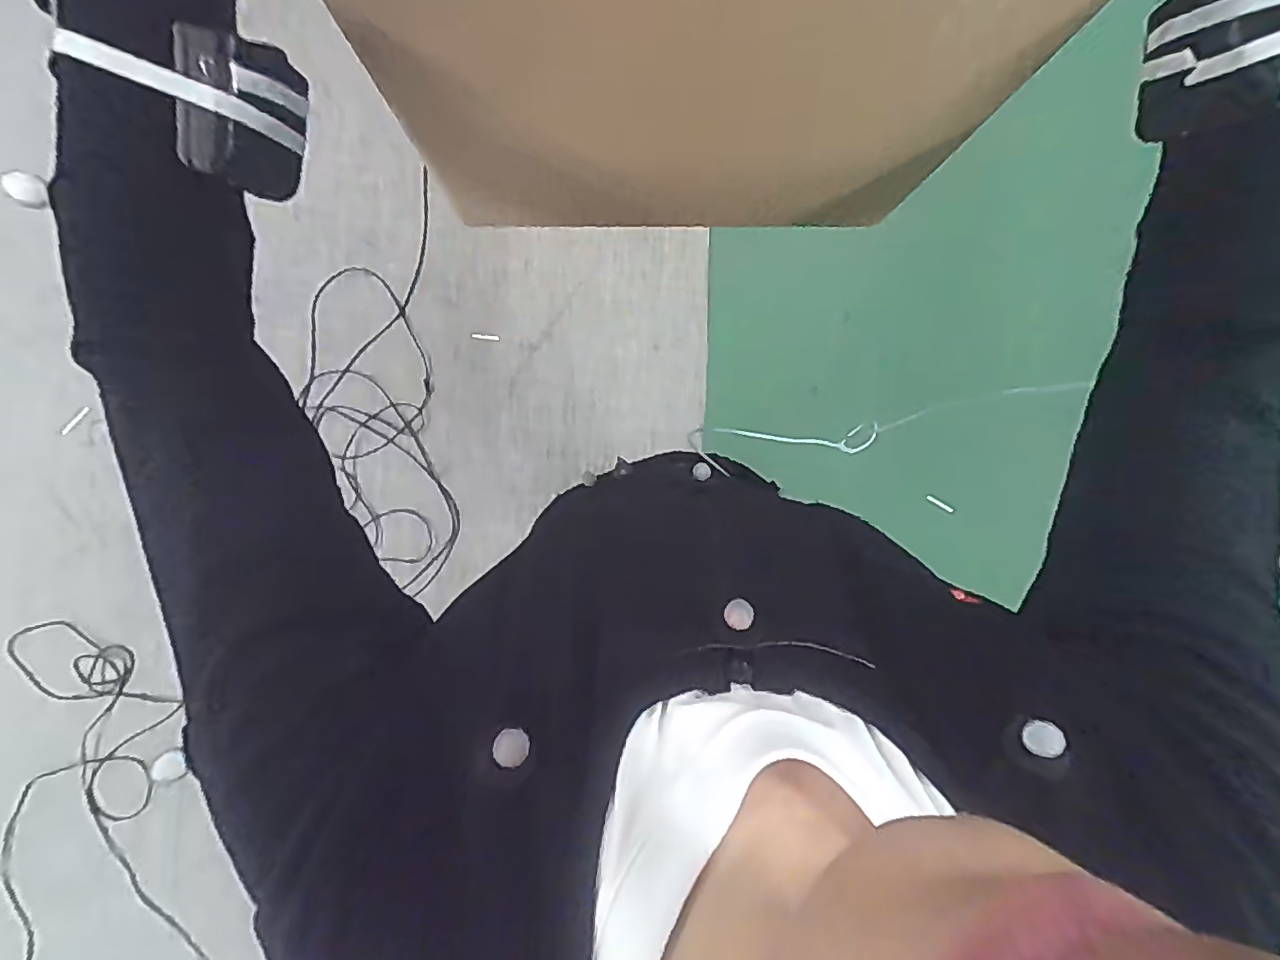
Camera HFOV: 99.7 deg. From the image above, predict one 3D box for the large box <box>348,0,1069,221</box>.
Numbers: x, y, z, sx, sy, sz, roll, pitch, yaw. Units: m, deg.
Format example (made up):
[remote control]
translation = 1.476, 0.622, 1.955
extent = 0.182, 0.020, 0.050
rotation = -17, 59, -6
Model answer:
[large box]
translation = 0.032, -0.404, 0.374
extent = 0.408, 0.320, 0.320
rotation = -1, 90, -3
